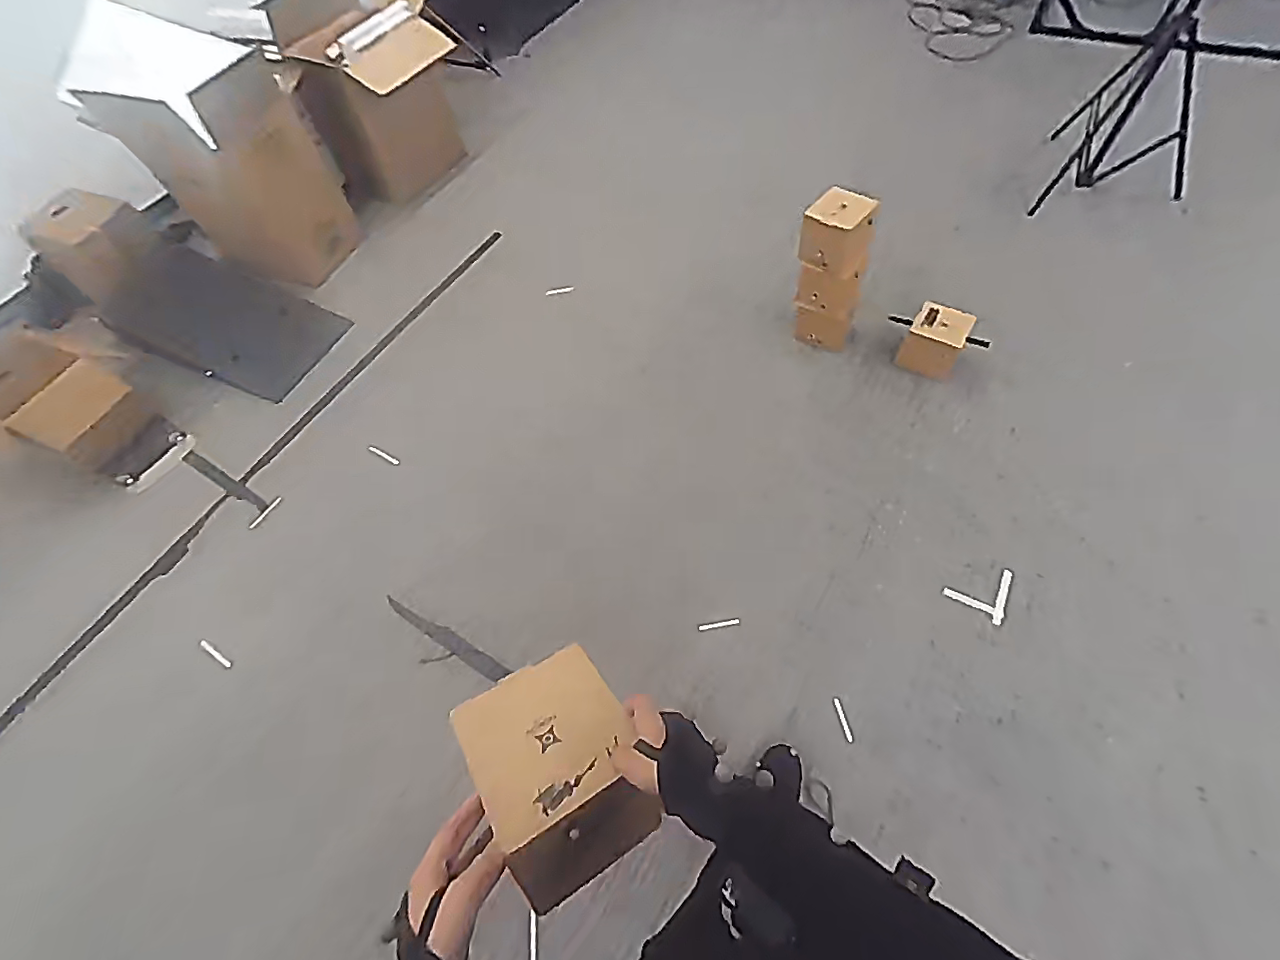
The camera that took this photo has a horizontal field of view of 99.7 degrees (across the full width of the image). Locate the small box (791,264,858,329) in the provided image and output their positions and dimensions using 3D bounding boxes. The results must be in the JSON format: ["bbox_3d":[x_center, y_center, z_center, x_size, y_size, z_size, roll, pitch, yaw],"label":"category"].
[{"bbox_3d":[0.671,-0.693,1.981,0.168,0.176,0.179,27,67,21],"label":"small box"}]

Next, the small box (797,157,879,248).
[{"bbox_3d":[0.620,-0.878,1.717,0.168,0.176,0.179,36,71,25],"label":"small box"}]

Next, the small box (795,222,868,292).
[{"bbox_3d":[0.647,-0.781,1.848,0.168,0.176,0.179,30,68,23],"label":"small box"}]

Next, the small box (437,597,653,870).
[{"bbox_3d":[-0.100,0.270,0.591,0.168,0.176,0.179,-24,41,-23],"label":"small box"}]
